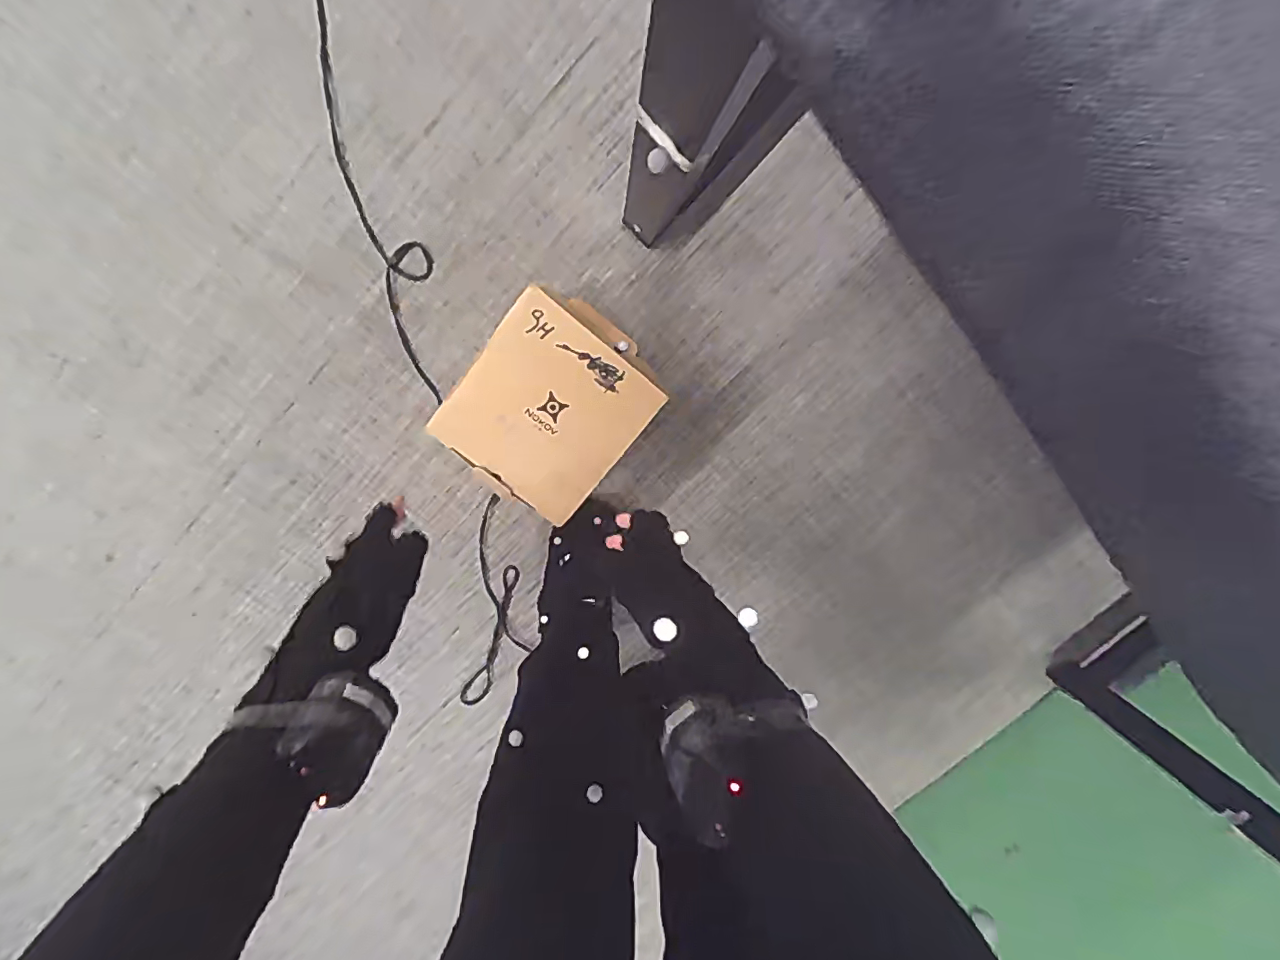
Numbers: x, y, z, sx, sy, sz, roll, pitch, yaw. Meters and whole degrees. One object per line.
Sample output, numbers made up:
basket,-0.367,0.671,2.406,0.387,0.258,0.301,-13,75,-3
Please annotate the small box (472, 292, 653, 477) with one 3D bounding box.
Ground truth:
small box,-0.103,-0.137,0.753,0.168,0.176,0.179,35,102,-12
